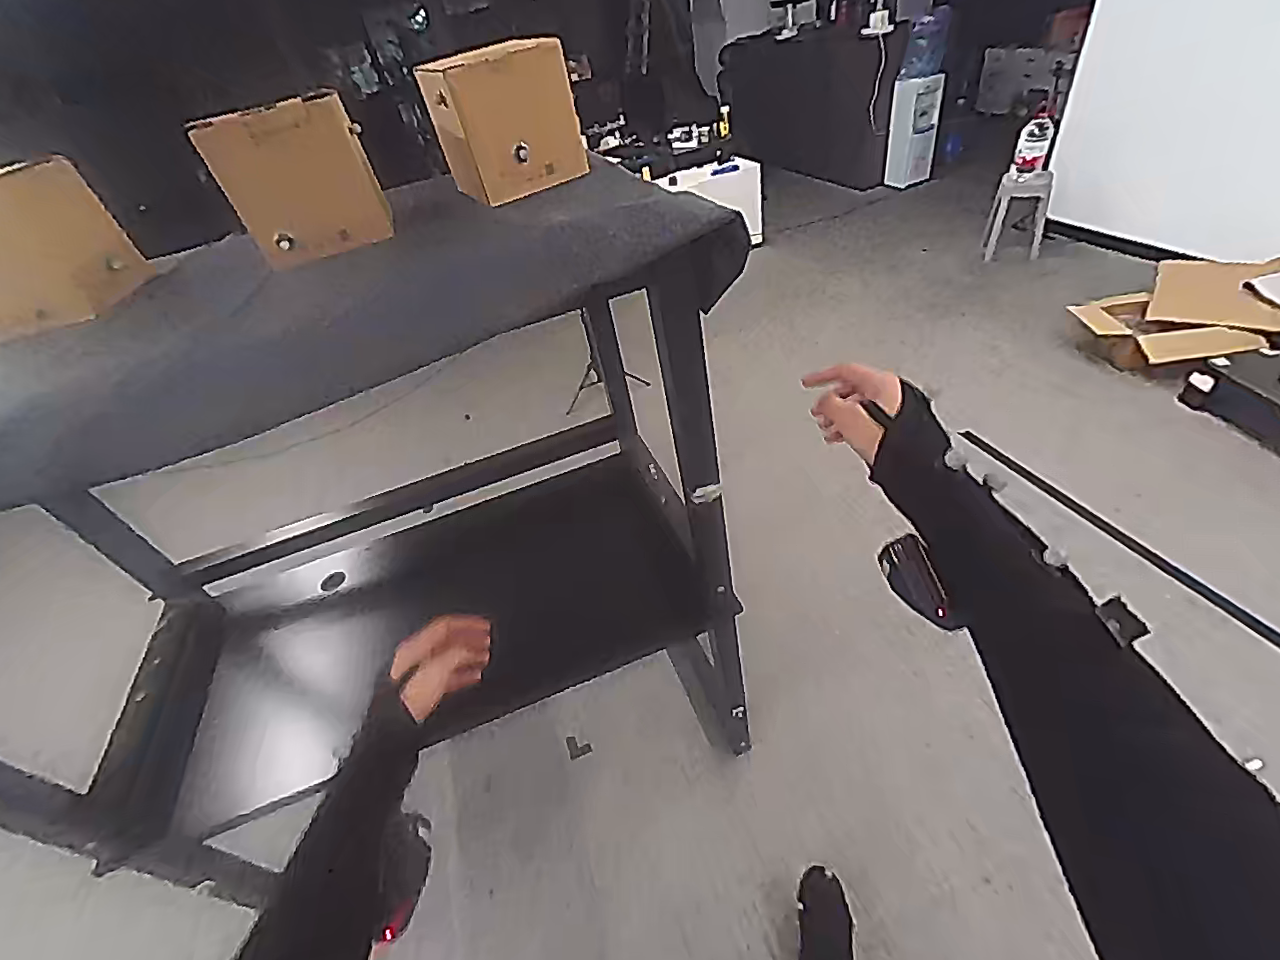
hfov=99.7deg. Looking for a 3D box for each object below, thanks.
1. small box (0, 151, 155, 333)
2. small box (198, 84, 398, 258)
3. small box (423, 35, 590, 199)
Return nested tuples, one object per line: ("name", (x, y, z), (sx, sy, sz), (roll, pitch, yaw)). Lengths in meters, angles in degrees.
("small box", (-0.814, -0.318, 0.724), (0.168, 0.176, 0.179), (-17, 41, -4))
("small box", (-0.454, -0.427, 0.753), (0.168, 0.176, 0.179), (-21, 41, -10))
("small box", (-0.196, -0.539, 0.808), (0.168, 0.176, 0.179), (-28, 45, -15))
